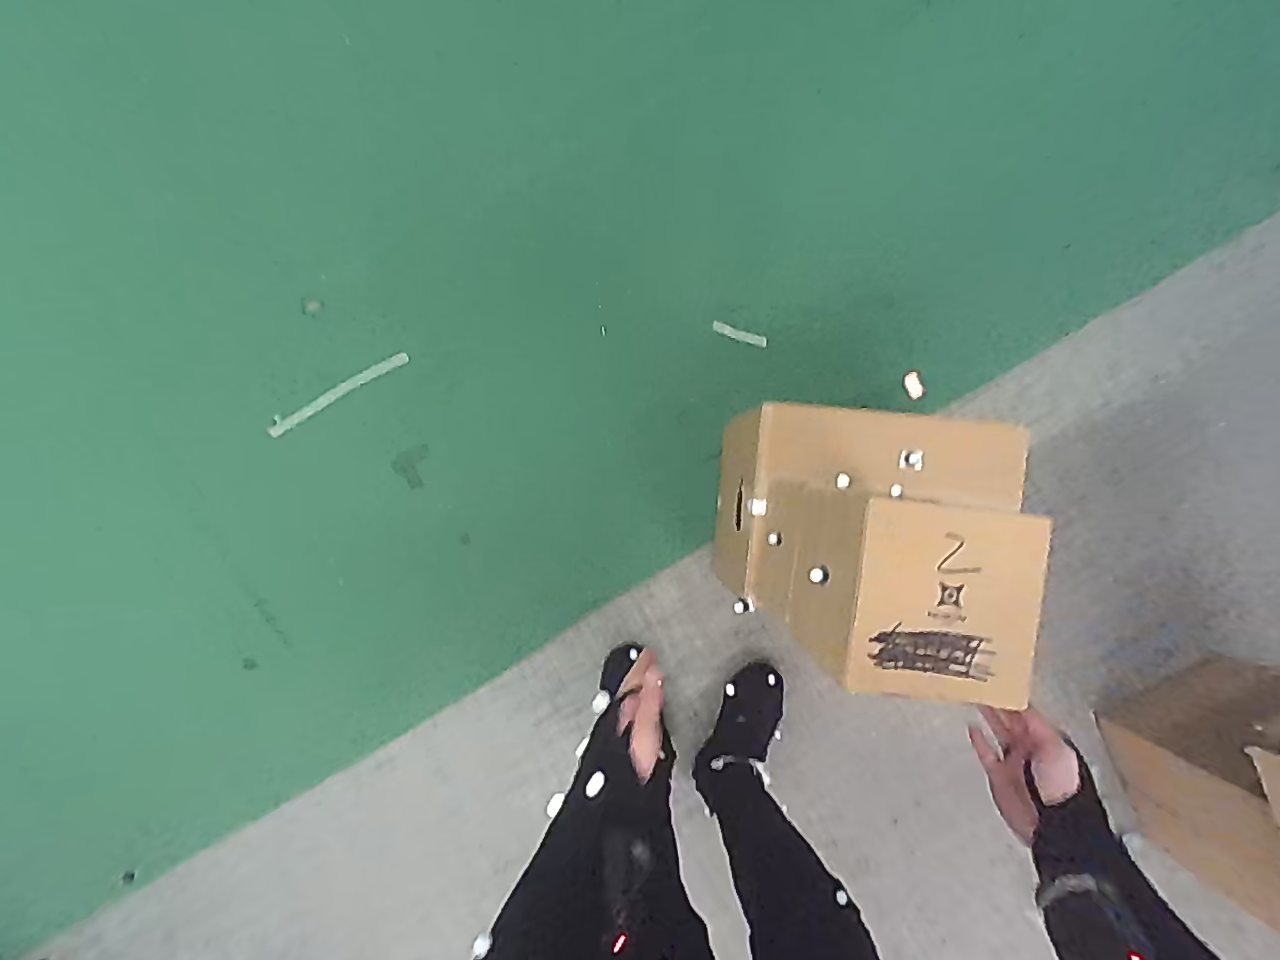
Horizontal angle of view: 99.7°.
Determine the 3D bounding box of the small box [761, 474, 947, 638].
[{"bbox_3d":[0.268,0.090,0.719,0.168,0.176,0.179,8,90,-2],"label":"small box"}]
